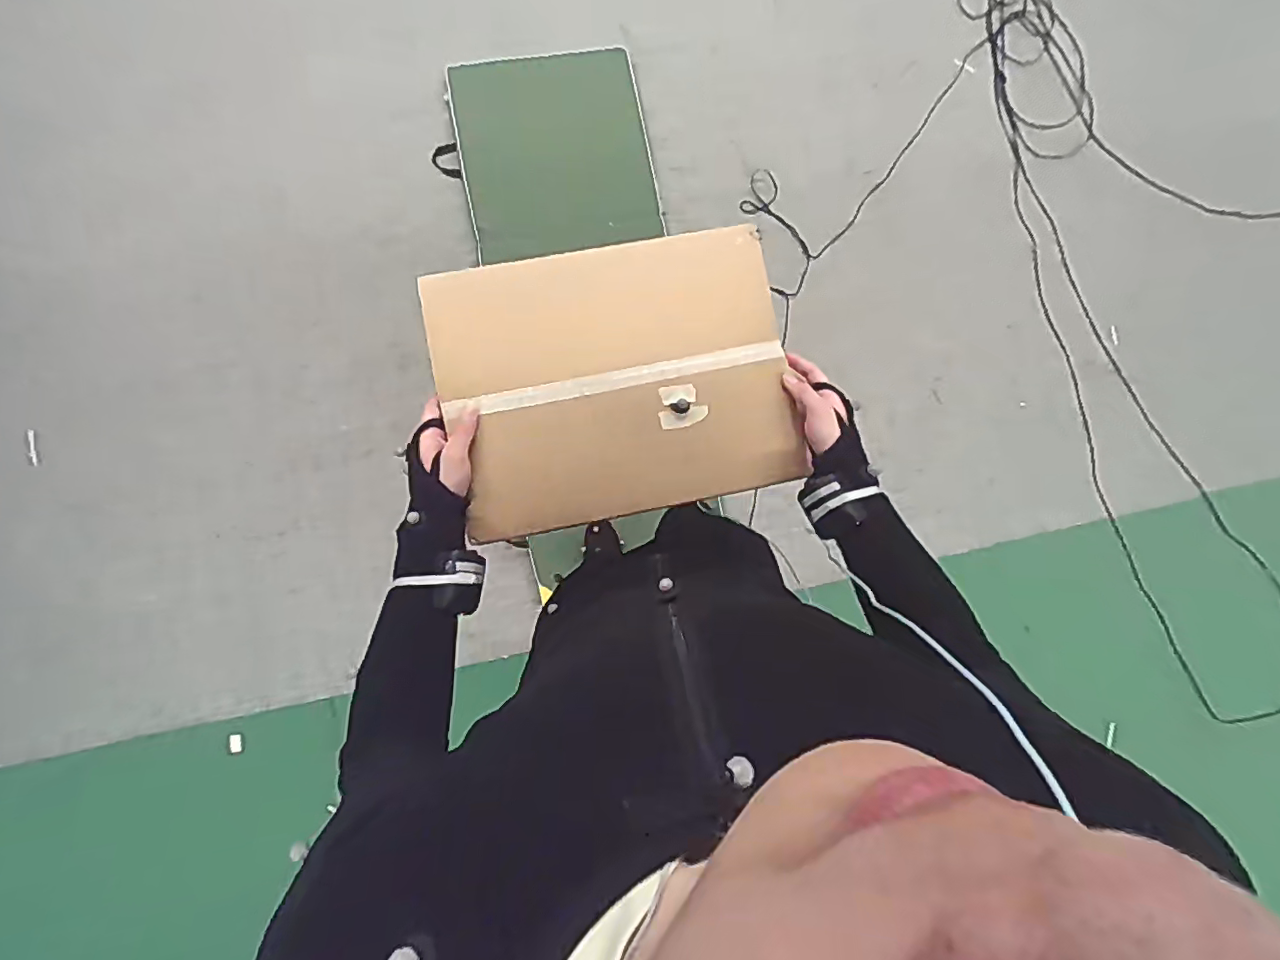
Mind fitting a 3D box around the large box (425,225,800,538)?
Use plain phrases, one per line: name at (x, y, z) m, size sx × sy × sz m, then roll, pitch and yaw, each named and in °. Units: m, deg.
large box at (-0.041, -0.116, 0.789) m, size 0.408 × 0.320 × 0.320 m, roll -12°, pitch 90°, yaw -5°
